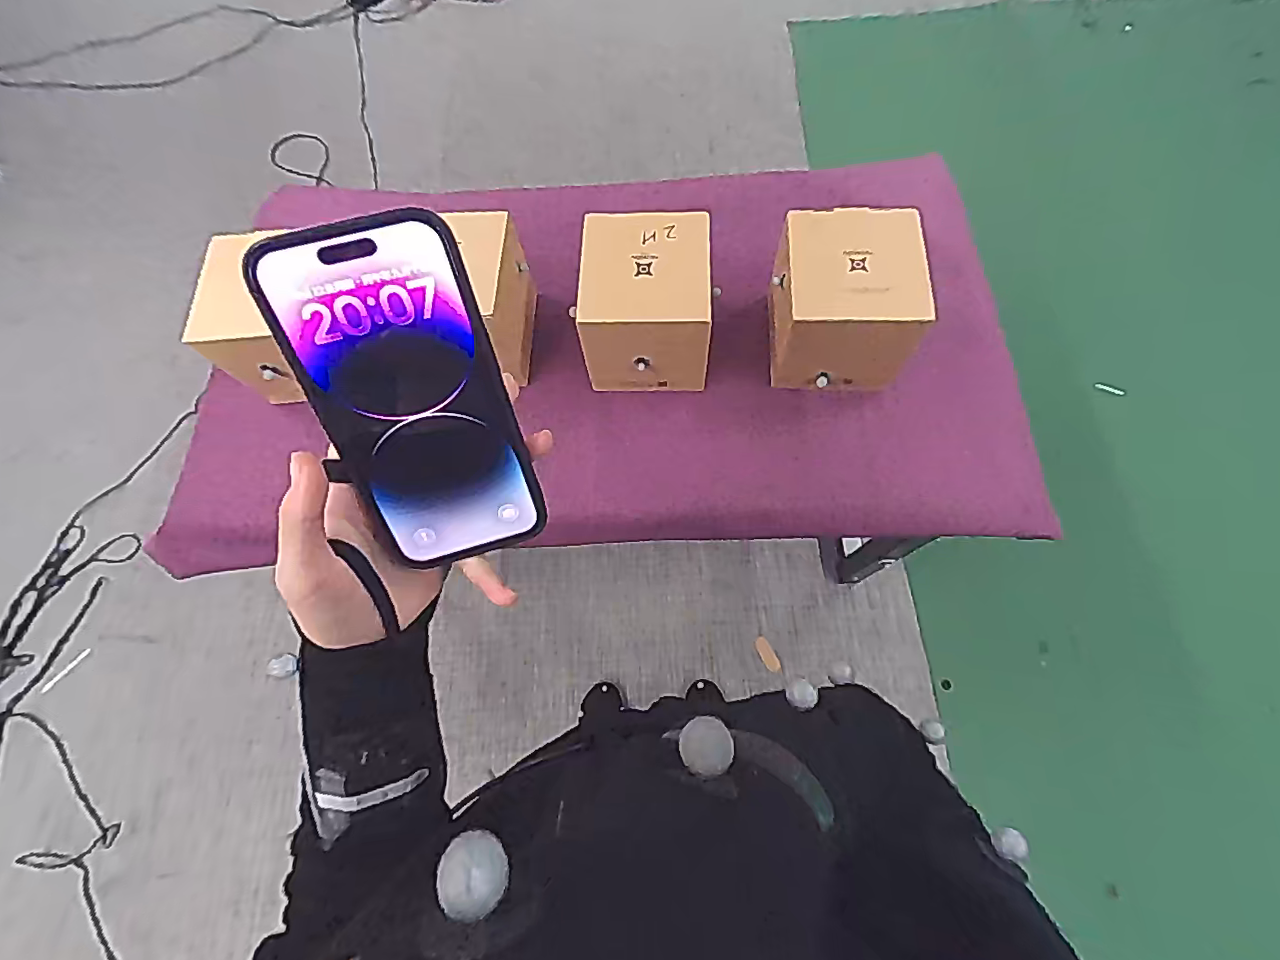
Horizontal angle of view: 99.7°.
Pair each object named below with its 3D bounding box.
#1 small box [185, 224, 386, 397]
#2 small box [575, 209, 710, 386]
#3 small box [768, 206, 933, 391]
[{"bbox_3d":[-0.490,-0.231,0.778,0.168,0.176,0.179,-5,68,2],"label":"small box"},{"bbox_3d":[0.010,-0.244,0.753,0.168,0.176,0.179,1,69,3],"label":"small box"},{"bbox_3d":[0.271,-0.243,0.739,0.168,0.176,0.179,2,69,5],"label":"small box"}]
